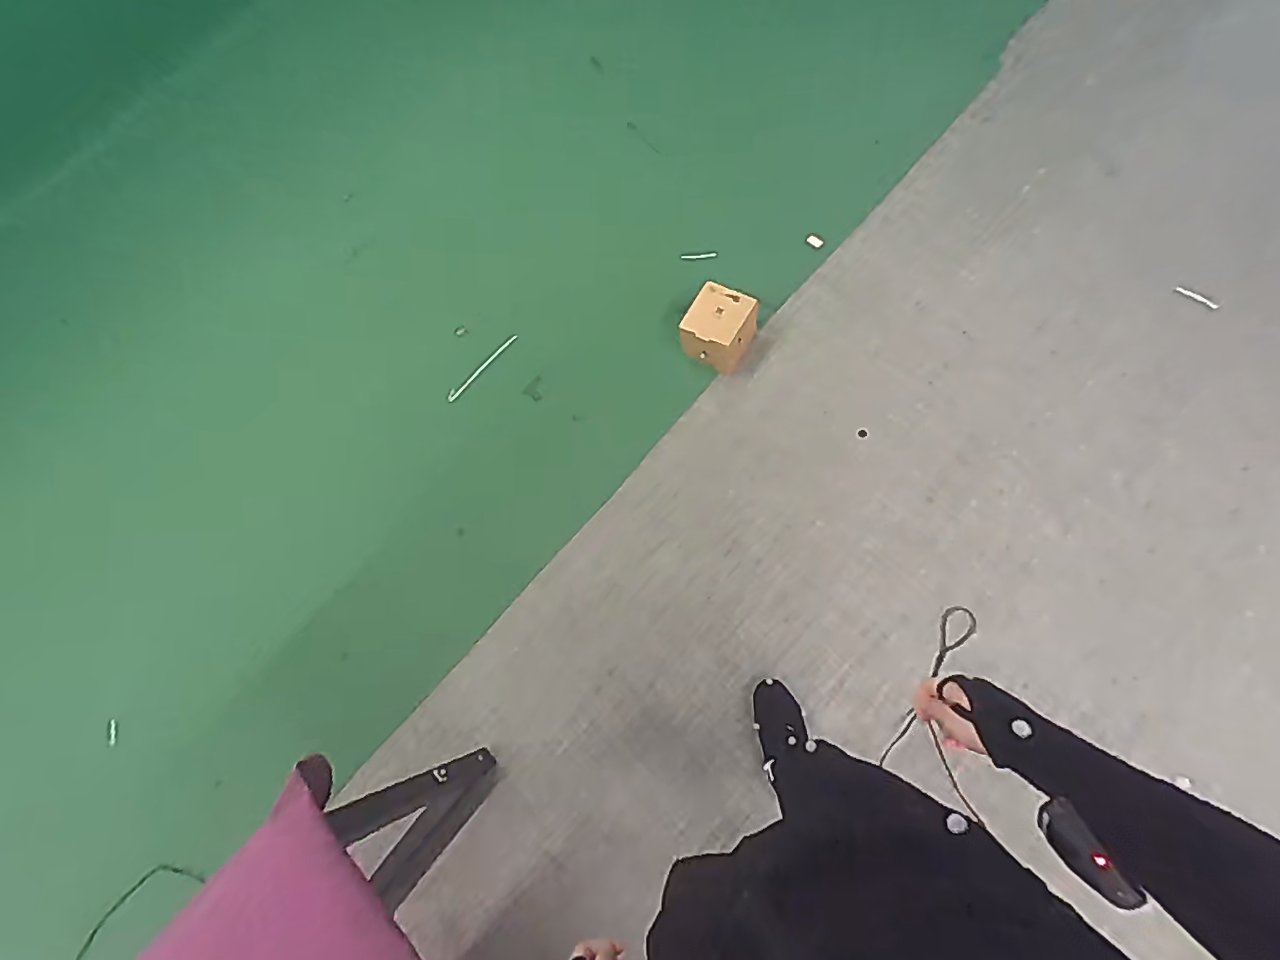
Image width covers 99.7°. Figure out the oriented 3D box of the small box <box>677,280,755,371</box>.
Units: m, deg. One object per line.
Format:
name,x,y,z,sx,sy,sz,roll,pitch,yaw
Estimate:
small box,0.234,-0.460,1.631,0.168,0.176,0.179,29,81,17
